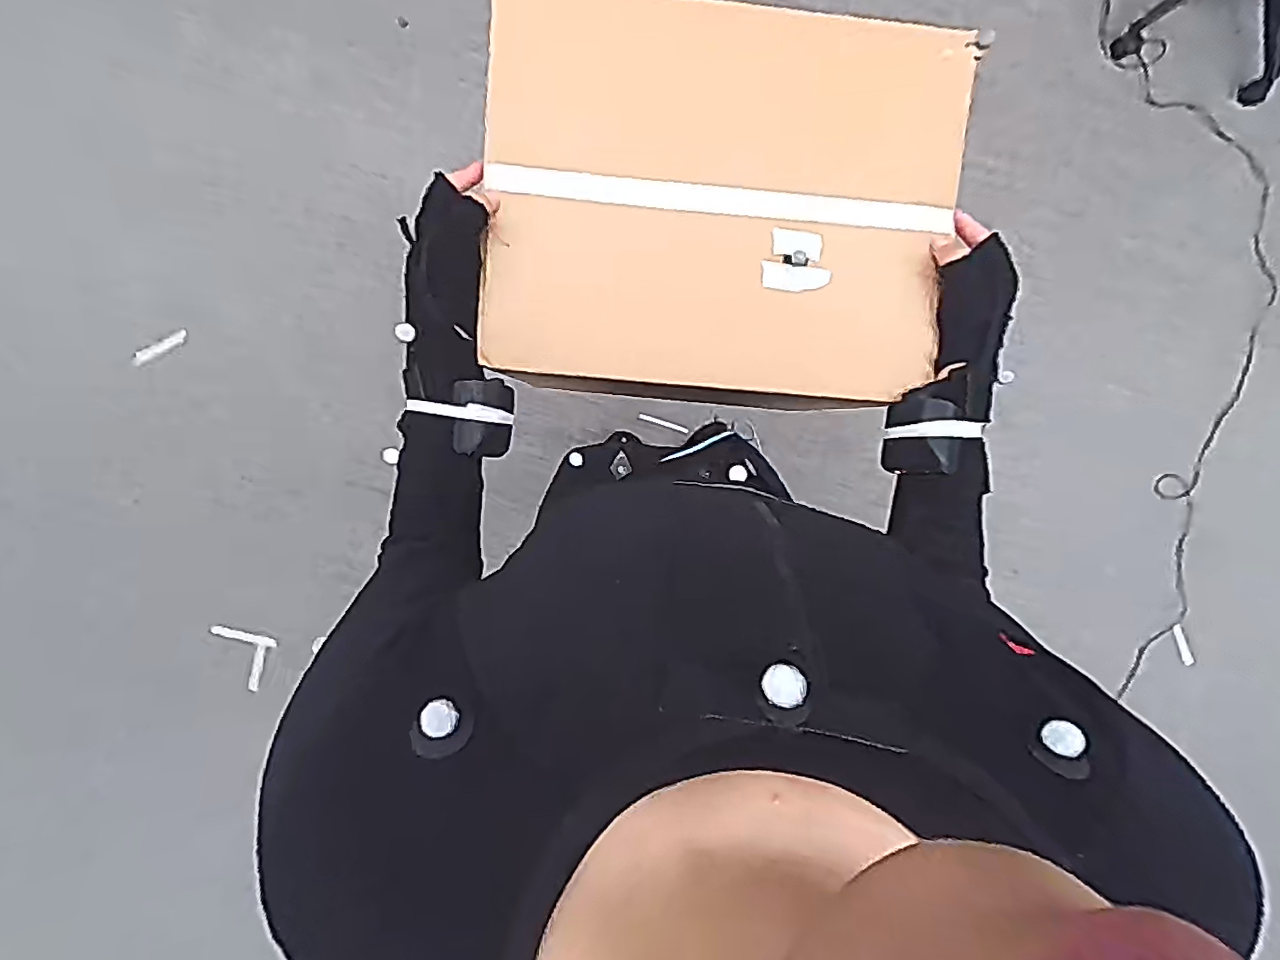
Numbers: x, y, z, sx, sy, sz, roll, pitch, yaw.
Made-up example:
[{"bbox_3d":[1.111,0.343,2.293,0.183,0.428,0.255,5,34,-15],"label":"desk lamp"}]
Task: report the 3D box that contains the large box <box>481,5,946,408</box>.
[{"bbox_3d":[0.053,-0.250,0.624,0.408,0.320,0.320,4,97,-4],"label":"large box"}]
